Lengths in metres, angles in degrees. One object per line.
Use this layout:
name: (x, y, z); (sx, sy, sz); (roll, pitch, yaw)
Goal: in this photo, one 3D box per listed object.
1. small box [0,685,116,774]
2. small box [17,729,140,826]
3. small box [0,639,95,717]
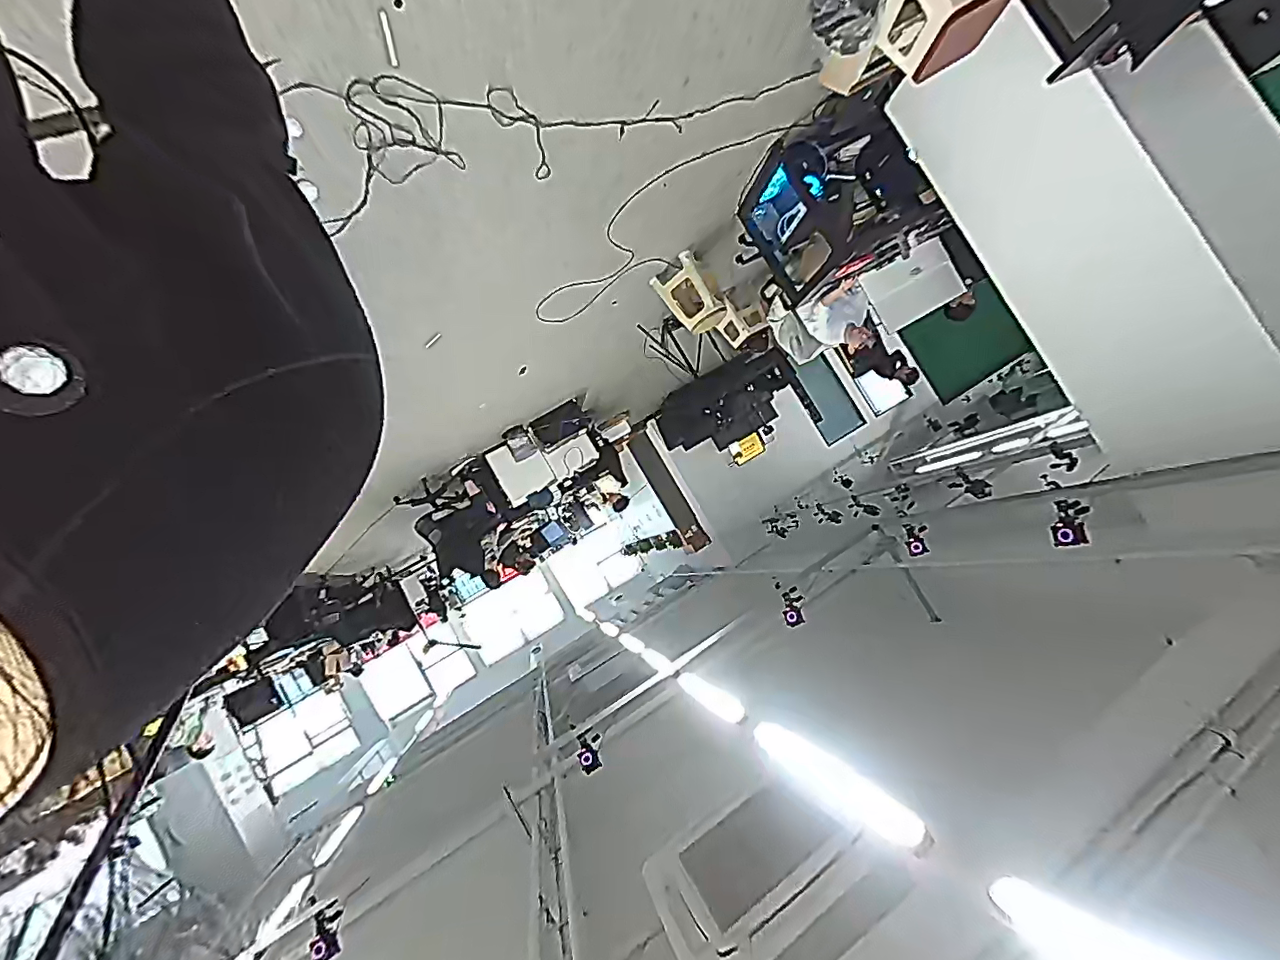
small box: (-1.765, 0.741, 1.635); (0.168, 0.176, 0.179); (-31, 177, -21)
small box: (-1.679, 0.880, 1.619); (0.168, 0.176, 0.179); (-31, 177, -20)
small box: (-1.850, 0.602, 1.650); (0.168, 0.176, 0.179); (-31, 176, -18)
